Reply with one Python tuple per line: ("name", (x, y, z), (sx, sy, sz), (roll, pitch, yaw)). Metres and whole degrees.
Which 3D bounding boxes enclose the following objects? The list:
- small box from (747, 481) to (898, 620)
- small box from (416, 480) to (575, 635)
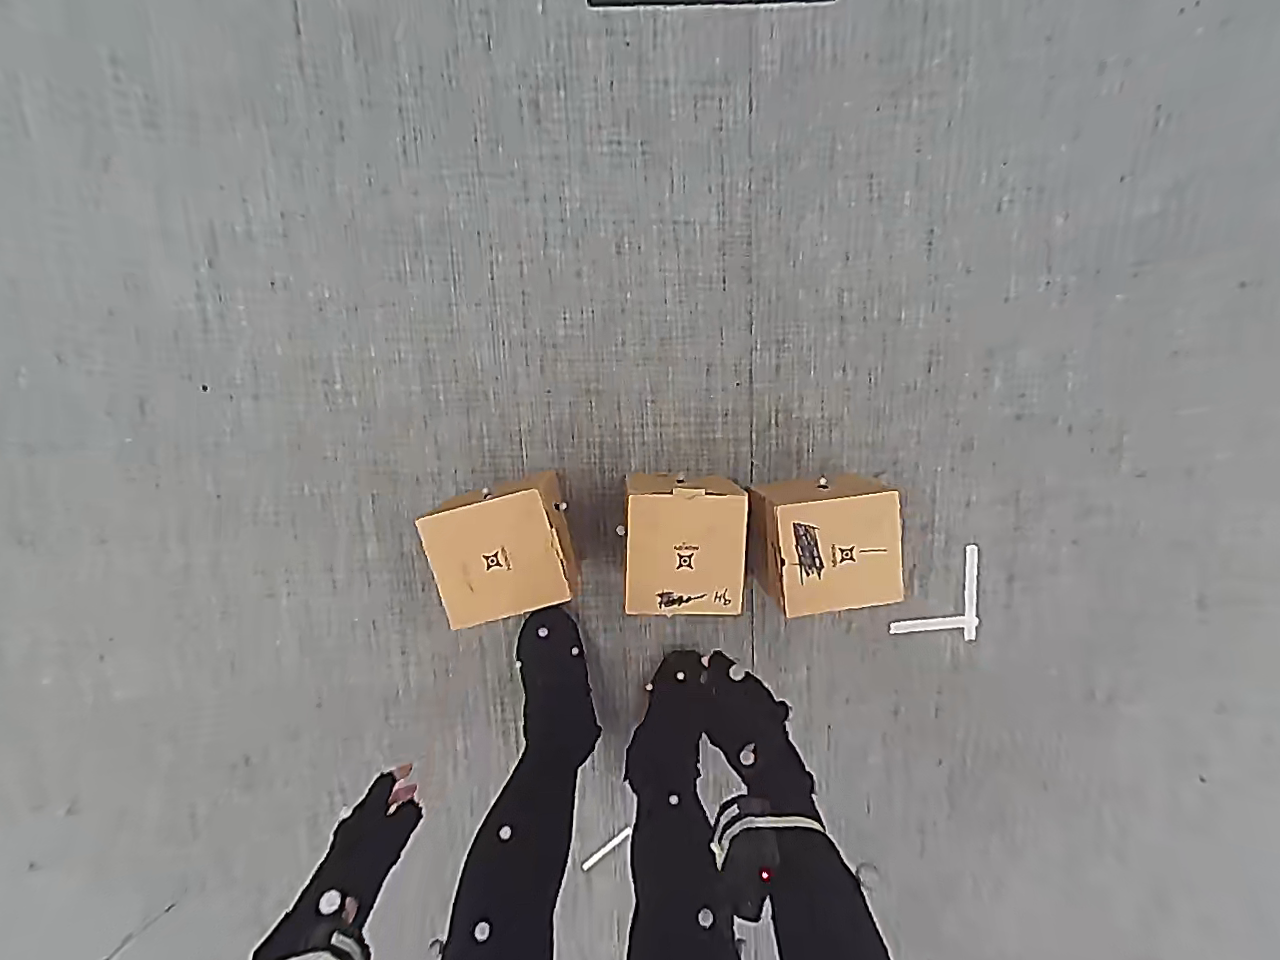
("small box", (0.270, 0.099, 0.836), (0.179, 0.176, 0.168), (-7, 99, -3))
("small box", (-0.201, 0.105, 0.815), (0.179, 0.176, 0.168), (-15, 98, 1))
